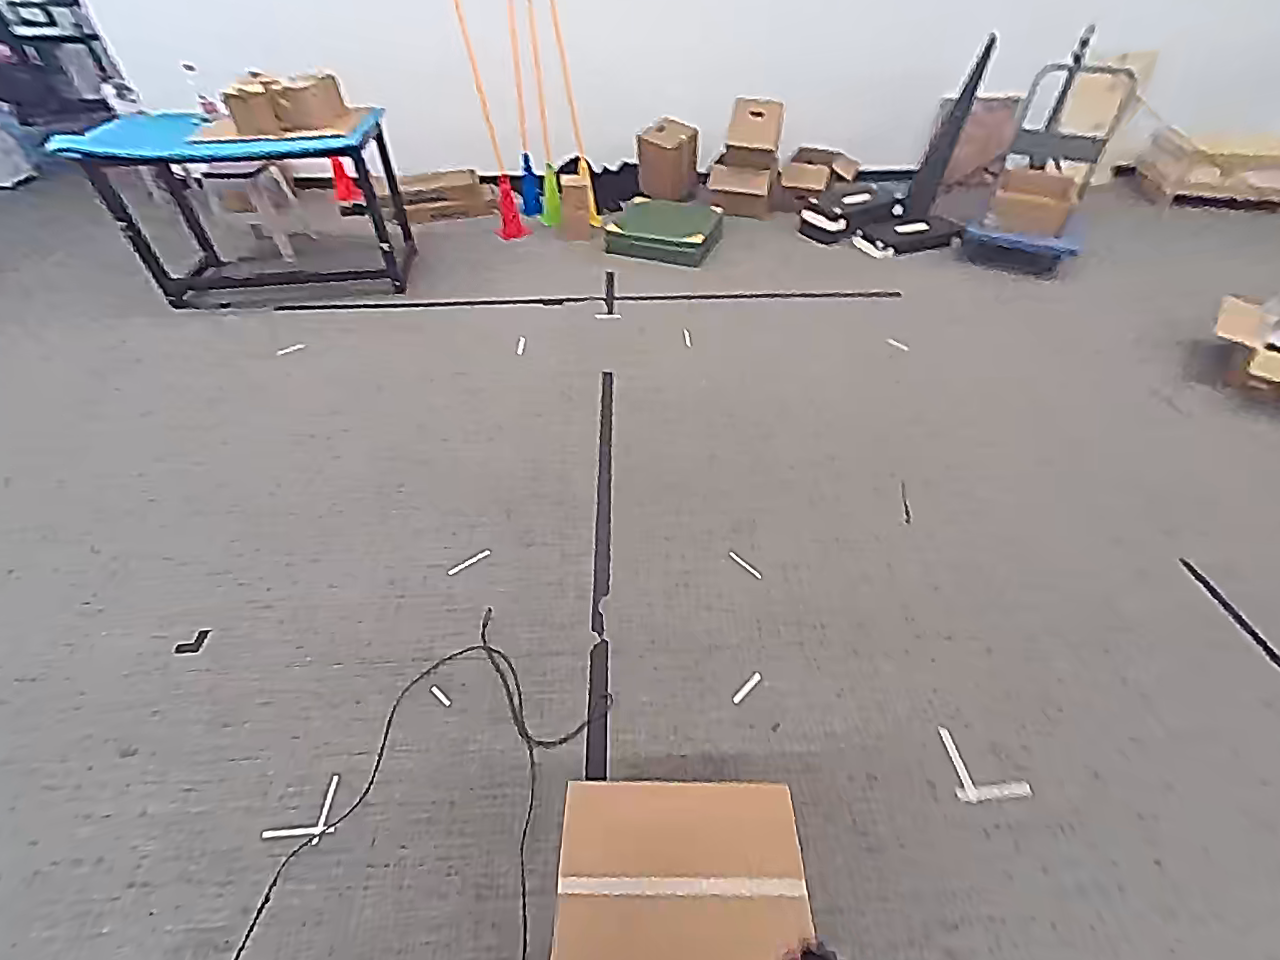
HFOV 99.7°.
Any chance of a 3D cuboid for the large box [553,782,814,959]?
[{"bbox_3d":[0.063,0.769,0.982,0.408,0.320,0.320,1,45,0],"label":"large box"}]
